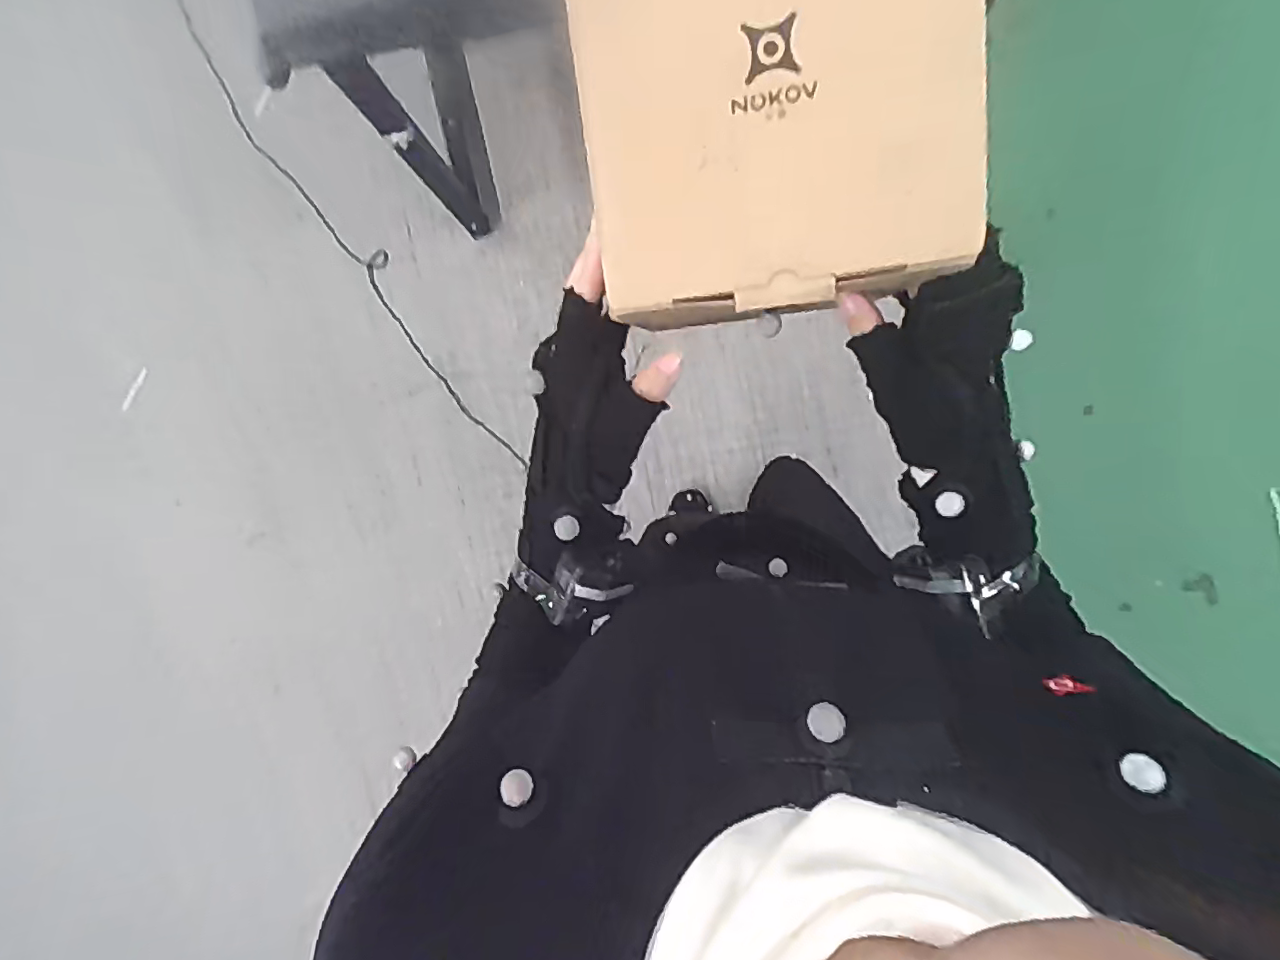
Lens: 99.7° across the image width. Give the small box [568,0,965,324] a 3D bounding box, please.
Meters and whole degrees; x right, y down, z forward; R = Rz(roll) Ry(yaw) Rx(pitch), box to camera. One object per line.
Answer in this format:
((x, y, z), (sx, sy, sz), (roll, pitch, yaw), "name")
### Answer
((0.068, -0.189, 0.315), (0.168, 0.176, 0.179), (-5, 102, 11), "small box")
